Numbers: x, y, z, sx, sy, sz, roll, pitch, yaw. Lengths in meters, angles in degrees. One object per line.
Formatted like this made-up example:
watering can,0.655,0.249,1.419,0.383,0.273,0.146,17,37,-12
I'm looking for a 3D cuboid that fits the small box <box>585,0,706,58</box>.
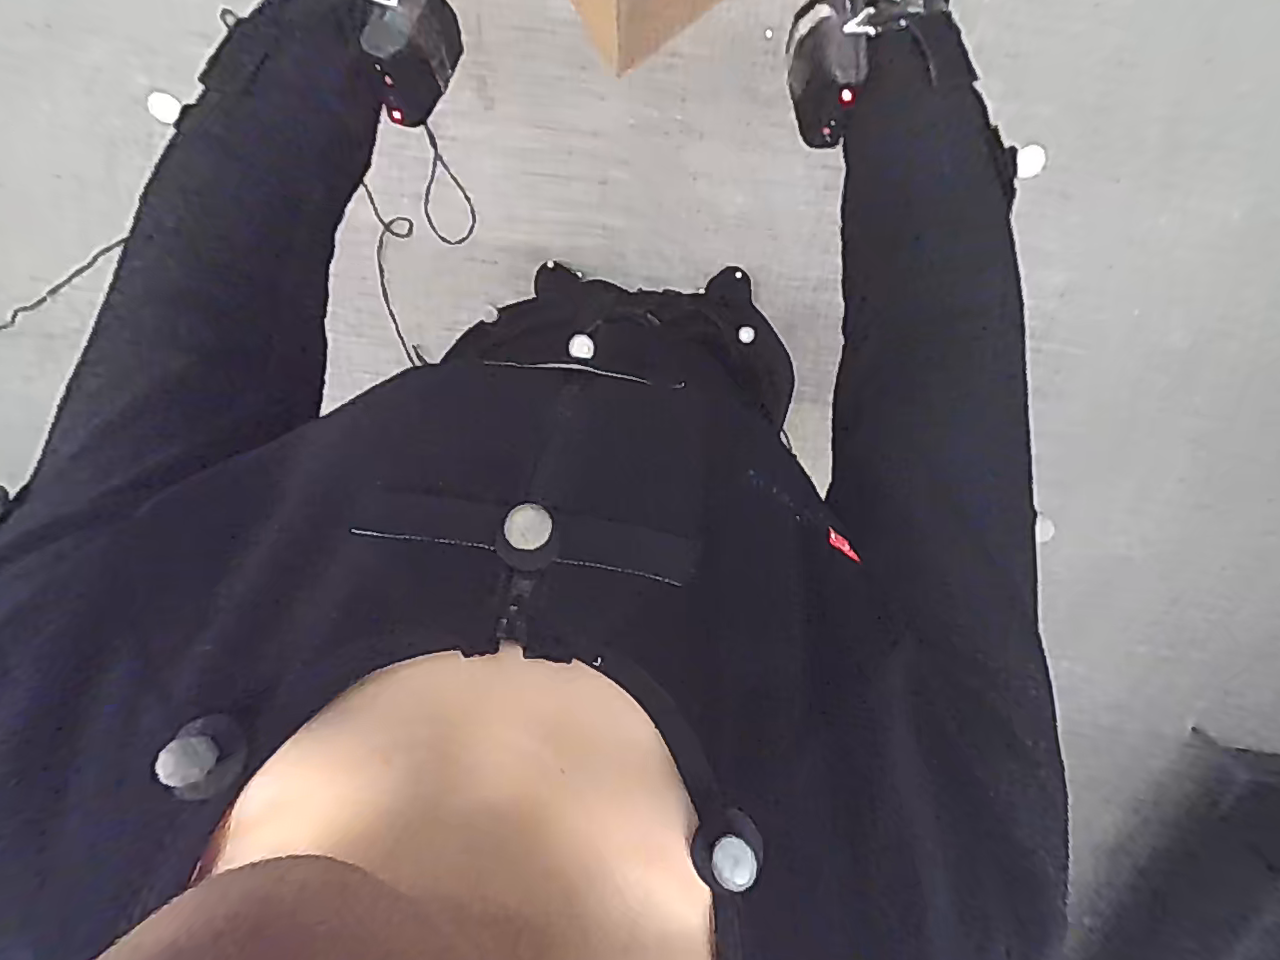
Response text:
small box,0.014,-0.379,0.282,0.179,0.176,0.168,-33,107,11
